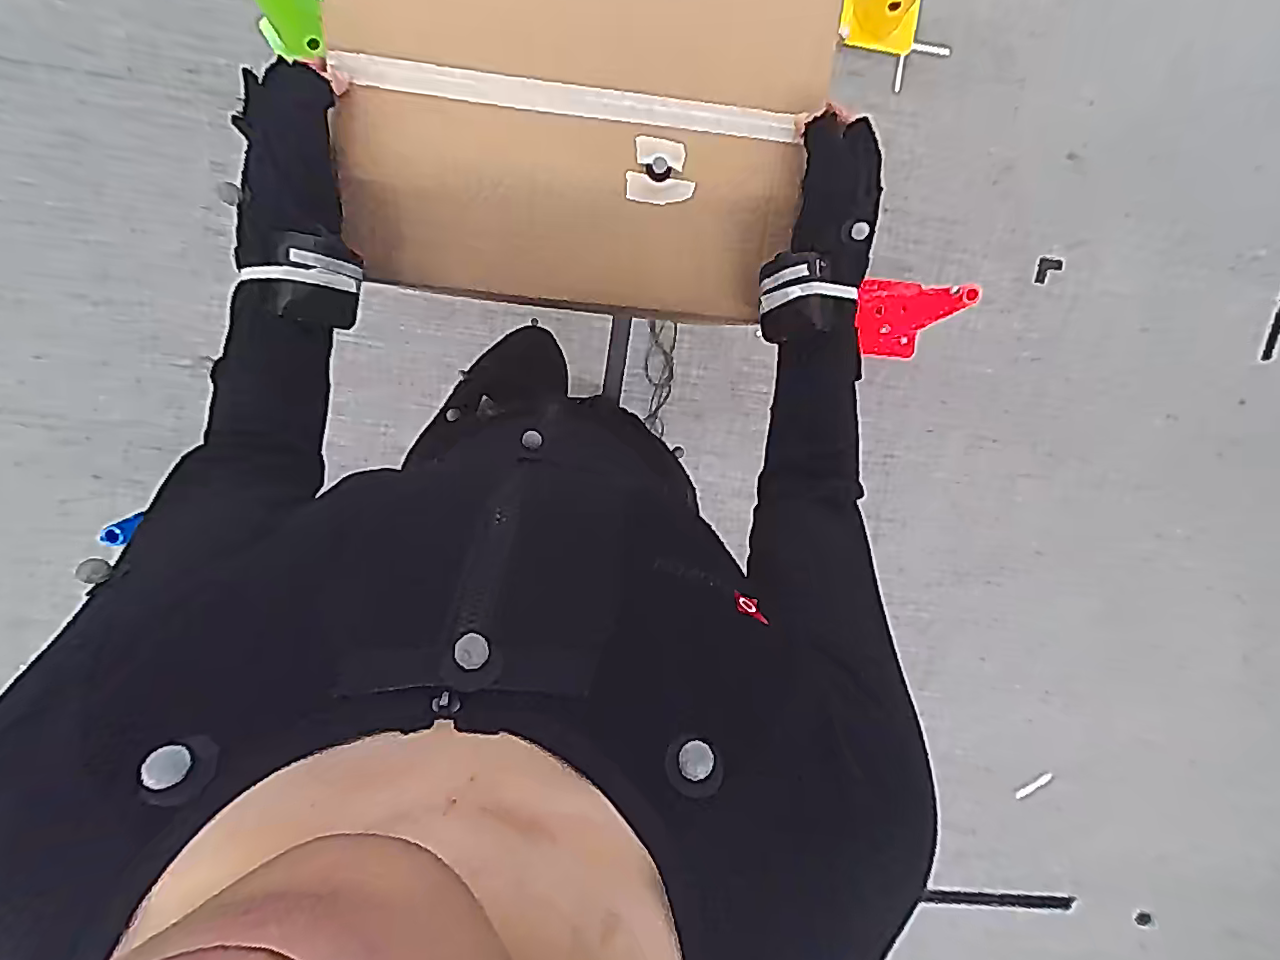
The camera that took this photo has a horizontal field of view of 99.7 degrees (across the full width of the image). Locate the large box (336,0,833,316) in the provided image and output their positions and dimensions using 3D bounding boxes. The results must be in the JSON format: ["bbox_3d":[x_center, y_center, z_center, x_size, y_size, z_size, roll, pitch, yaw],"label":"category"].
[{"bbox_3d":[-0.058,-0.360,0.593,0.408,0.320,0.320,4,105,-6],"label":"large box"}]

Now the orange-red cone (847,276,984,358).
[{"bbox_3d":[0.670,-0.412,1.276,0.198,0.360,0.199,5,97,-6],"label":"orange-red cone"}]

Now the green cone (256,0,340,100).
[{"bbox_3d":[-0.740,-0.996,1.088,0.202,0.368,0.200,-29,99,2],"label":"green cone"}]
